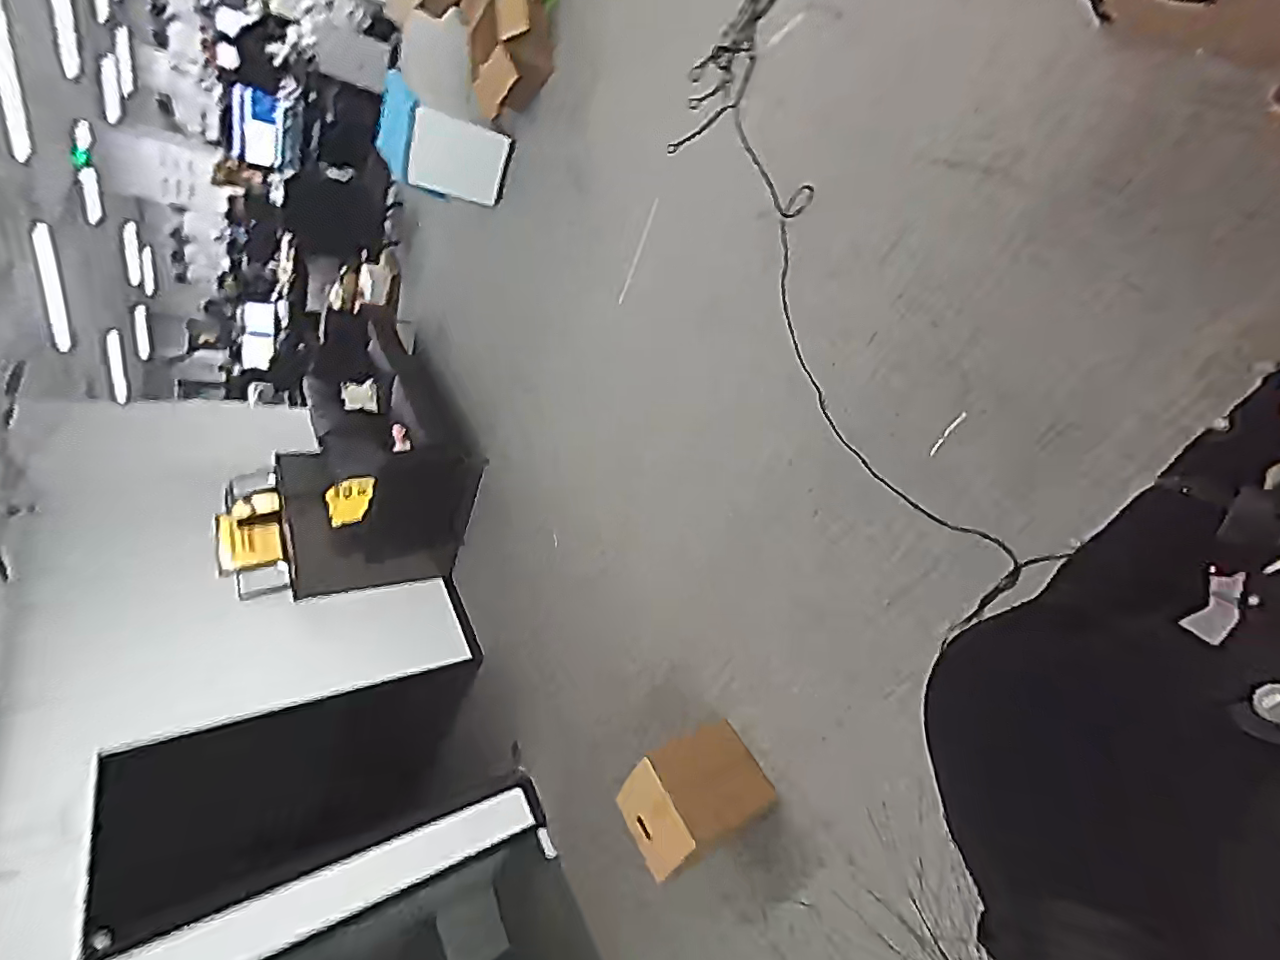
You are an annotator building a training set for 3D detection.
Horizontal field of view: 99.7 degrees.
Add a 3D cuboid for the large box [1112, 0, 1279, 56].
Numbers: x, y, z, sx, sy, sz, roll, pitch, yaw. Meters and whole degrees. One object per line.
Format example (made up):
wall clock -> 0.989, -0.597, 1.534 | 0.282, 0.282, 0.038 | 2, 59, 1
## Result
large box -> 1.016, -0.953, 0.811 | 0.320, 0.320, 0.408 | 52, 132, 35
